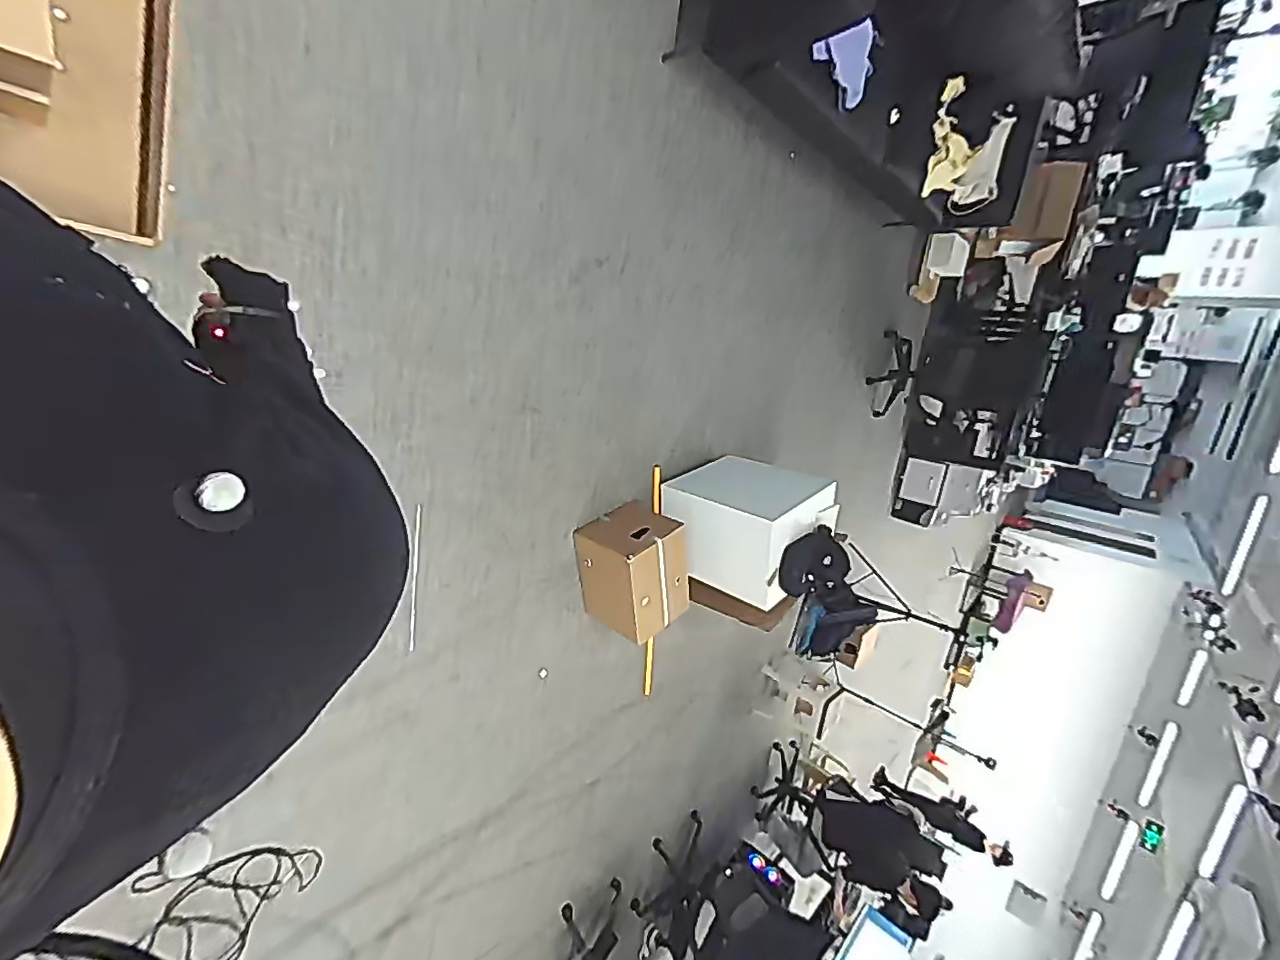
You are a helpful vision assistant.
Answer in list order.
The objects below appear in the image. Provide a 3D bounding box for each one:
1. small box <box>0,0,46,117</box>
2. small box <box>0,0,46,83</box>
[{"bbox_3d":[-0.973,-0.659,0.768,0.168,0.176,0.179,-2,105,-49],"label":"small box"},{"bbox_3d":[-0.853,-0.629,0.659,0.168,0.176,0.179,-7,108,-49],"label":"small box"}]
